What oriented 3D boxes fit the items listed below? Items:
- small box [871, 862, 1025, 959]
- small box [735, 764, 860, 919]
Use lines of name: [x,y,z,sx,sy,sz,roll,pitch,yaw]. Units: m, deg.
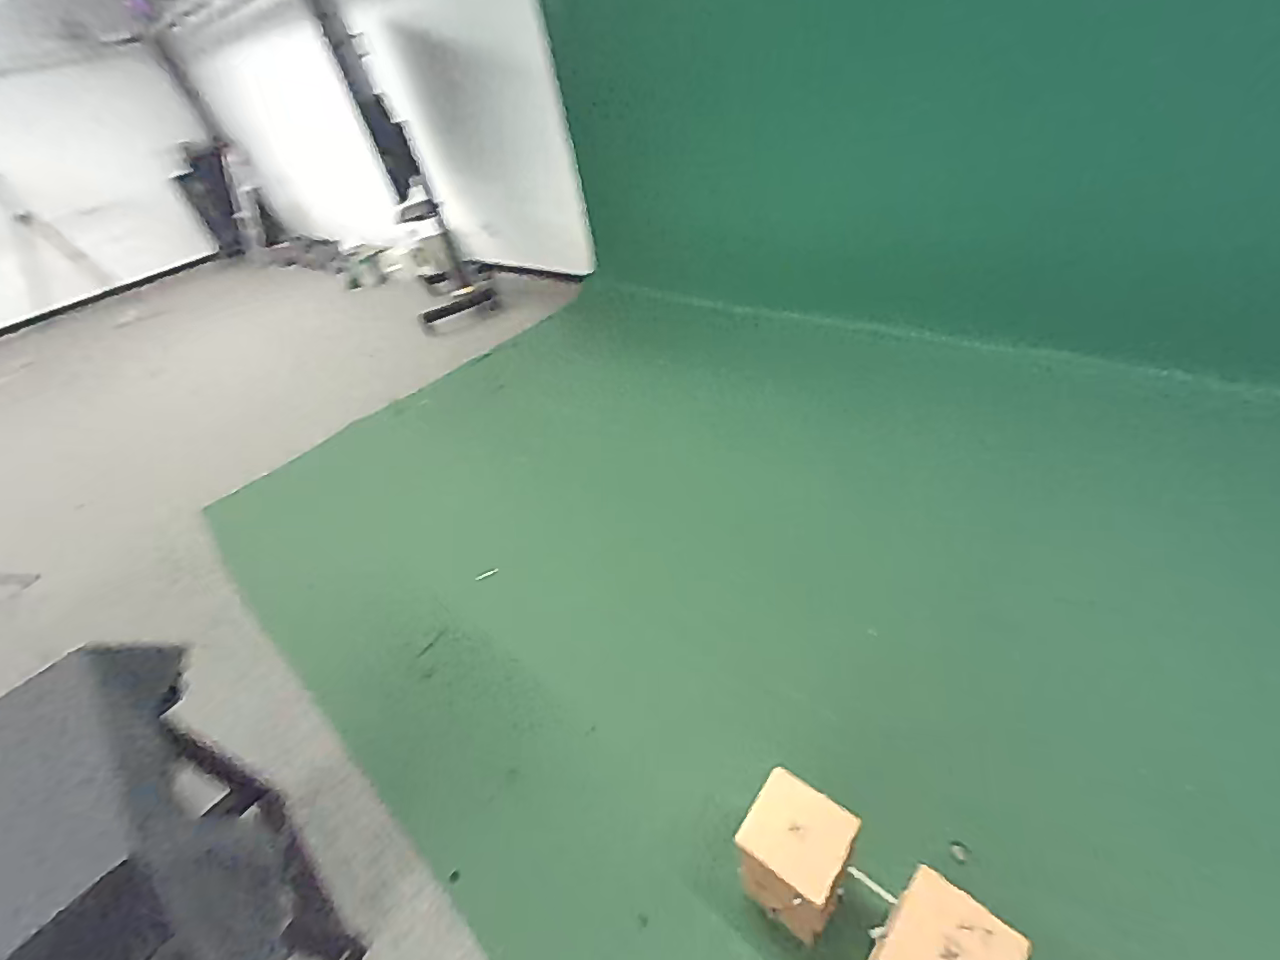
small box: [0.502,0.801,0.904,0.168,0.176,0.179,27,54,37]
small box: [0.308,0.712,1.064,0.179,0.176,0.168,23,51,35]
